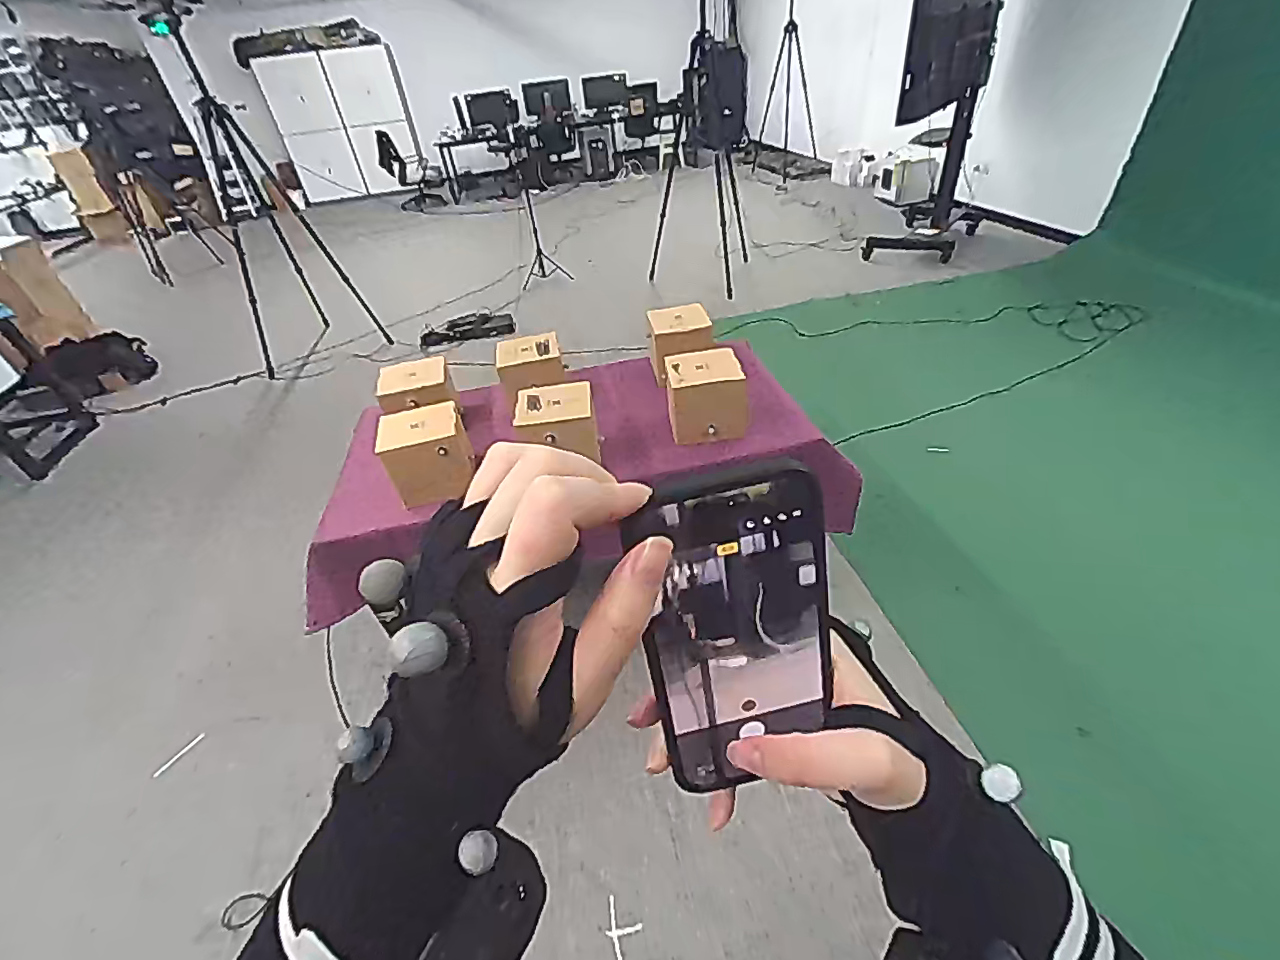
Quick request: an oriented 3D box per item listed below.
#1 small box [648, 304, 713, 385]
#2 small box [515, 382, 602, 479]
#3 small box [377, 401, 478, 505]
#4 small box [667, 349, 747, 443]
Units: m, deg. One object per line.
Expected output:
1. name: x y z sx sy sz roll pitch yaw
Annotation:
1. small box: 0.119 -0.403 1.607 0.168 0.176 0.179 -10 40 -2
2. small box: -0.190 -0.116 1.304 0.179 0.176 0.168 -7 39 -1
3. small box: -0.499 -0.063 1.288 0.179 0.176 0.168 -14 39 -11
4. small box: 0.164 -0.210 1.363 0.179 0.176 0.168 -7 38 0
